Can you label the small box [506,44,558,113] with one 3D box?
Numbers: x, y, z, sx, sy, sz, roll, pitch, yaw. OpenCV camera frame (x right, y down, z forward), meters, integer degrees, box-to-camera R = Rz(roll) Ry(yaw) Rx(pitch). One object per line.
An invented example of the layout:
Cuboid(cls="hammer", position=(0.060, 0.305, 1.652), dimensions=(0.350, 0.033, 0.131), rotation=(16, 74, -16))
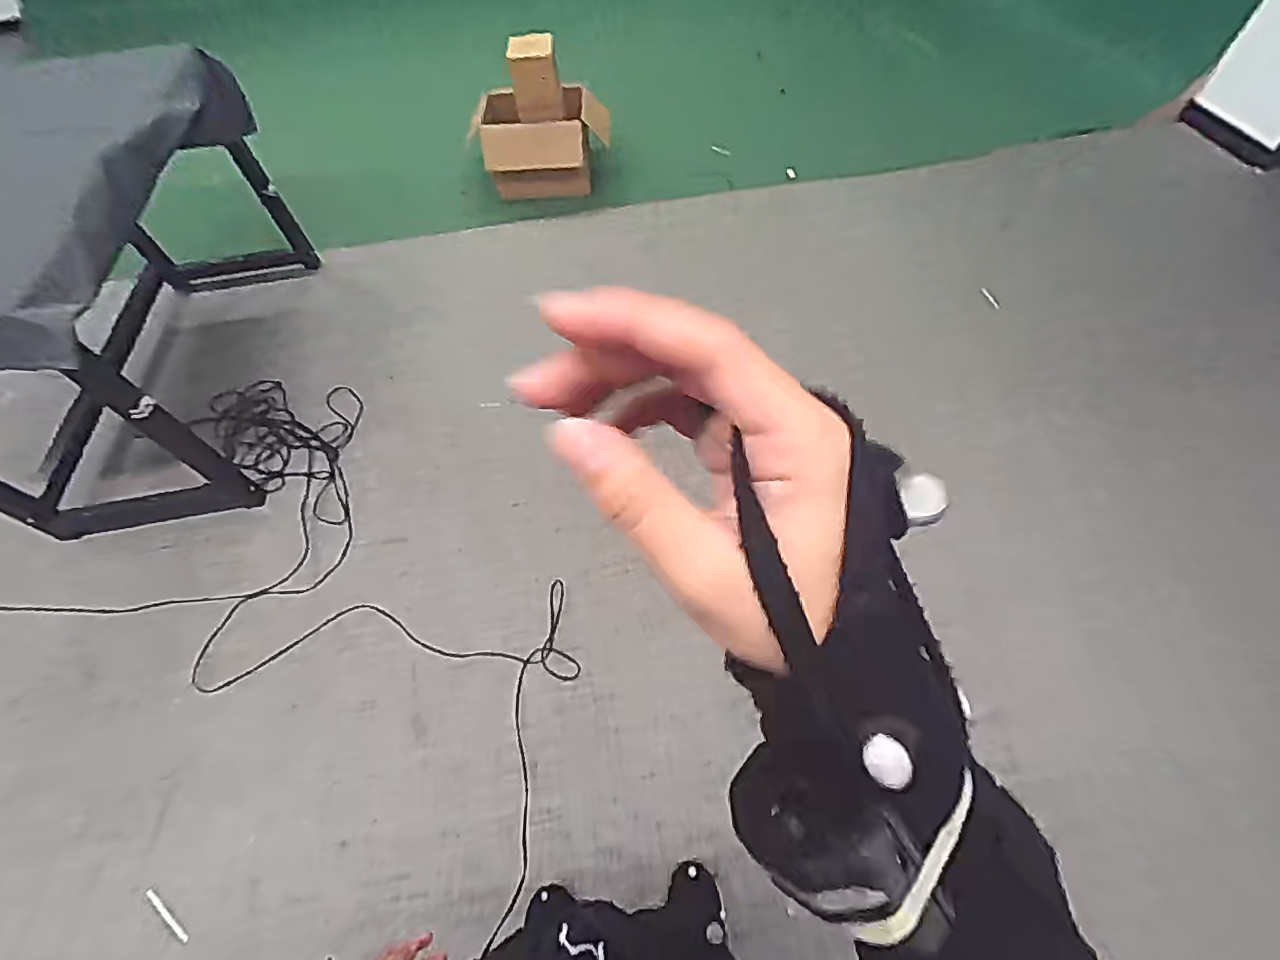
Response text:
Cuboid(cls="small box", position=(-0.413, -1.549, 2.096), dimensions=(0.168, 0.176, 0.179), rotation=(-4, 57, 0))
